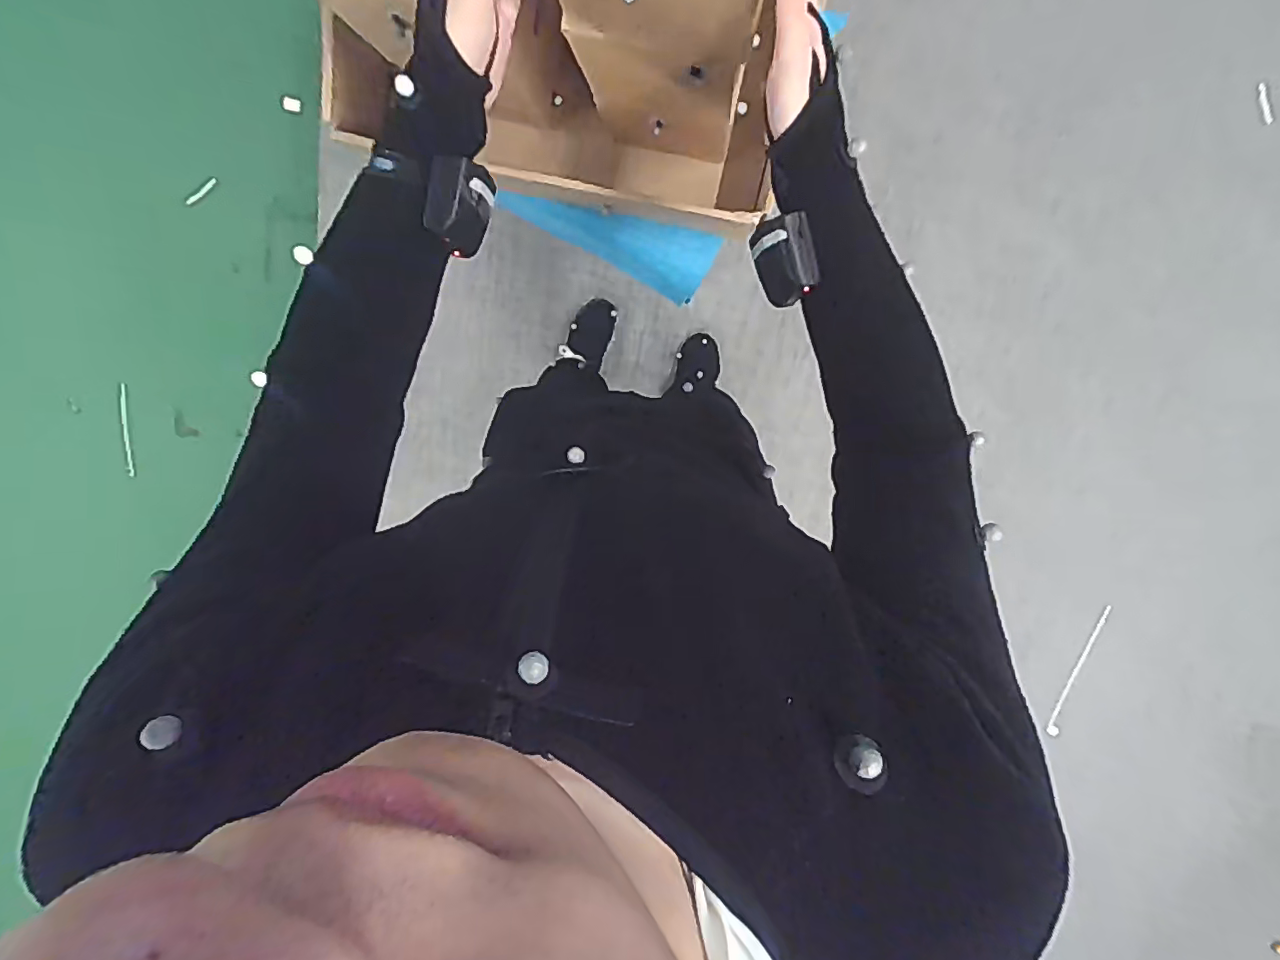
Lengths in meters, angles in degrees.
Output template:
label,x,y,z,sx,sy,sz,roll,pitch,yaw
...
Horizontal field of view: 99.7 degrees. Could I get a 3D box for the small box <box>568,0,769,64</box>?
label,x,y,z,sx,sy,sz,roll,pitch,yaw
small box,0.029,-0.458,0.409,0.179,0.176,0.168,14,107,2

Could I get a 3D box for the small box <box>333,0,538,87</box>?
label,x,y,z,sx,sy,sz,roll,pitch,yaw
small box,-0.215,-0.552,0.571,0.179,0.176,0.168,12,107,0
